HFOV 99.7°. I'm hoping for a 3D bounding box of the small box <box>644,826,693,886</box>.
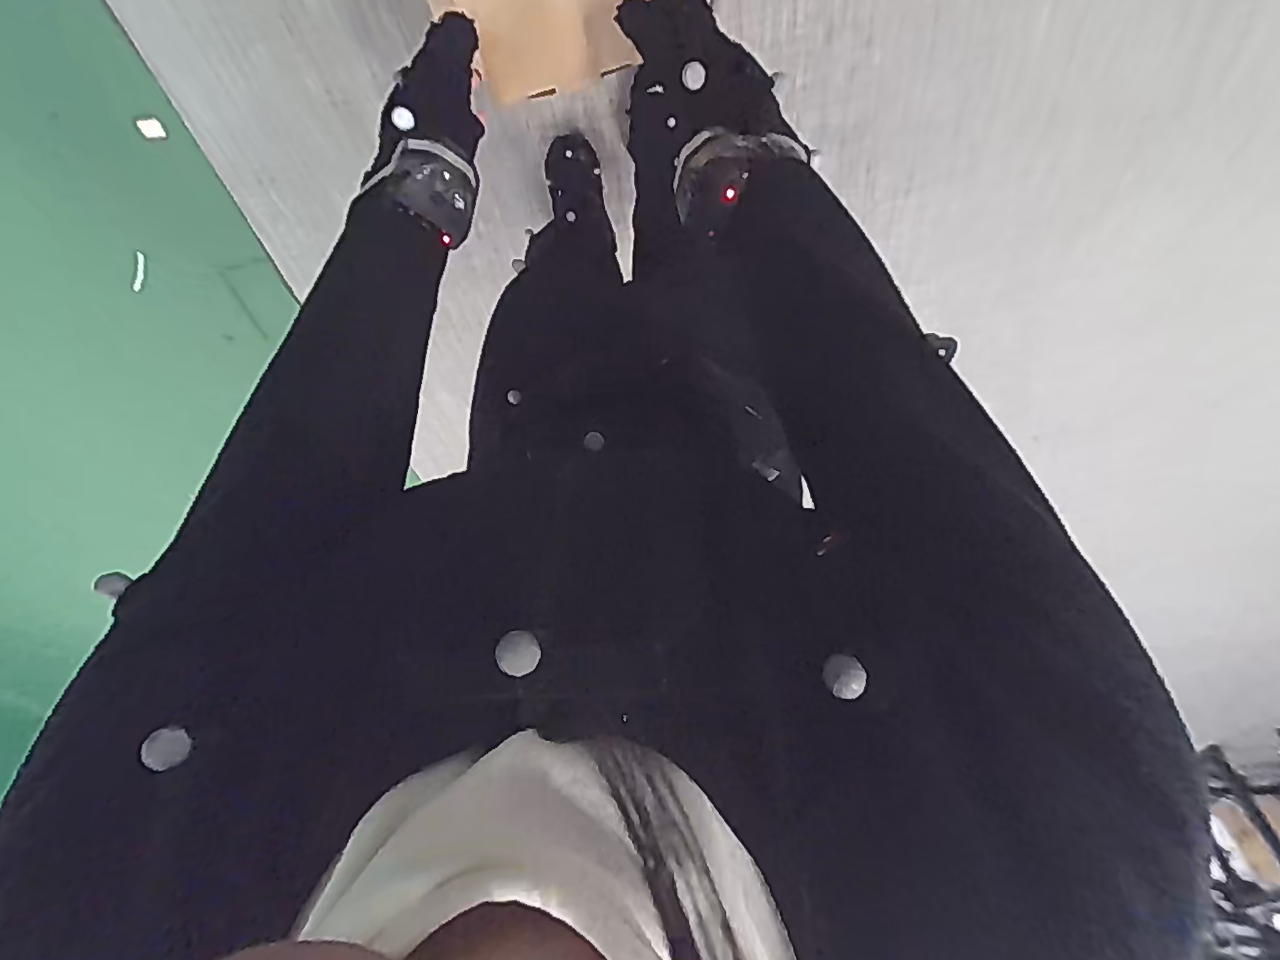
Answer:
[{"bbox_3d":[0.114,1.467,2.112,0.179,0.176,0.168,-6,136,7],"label":"small box"}]
